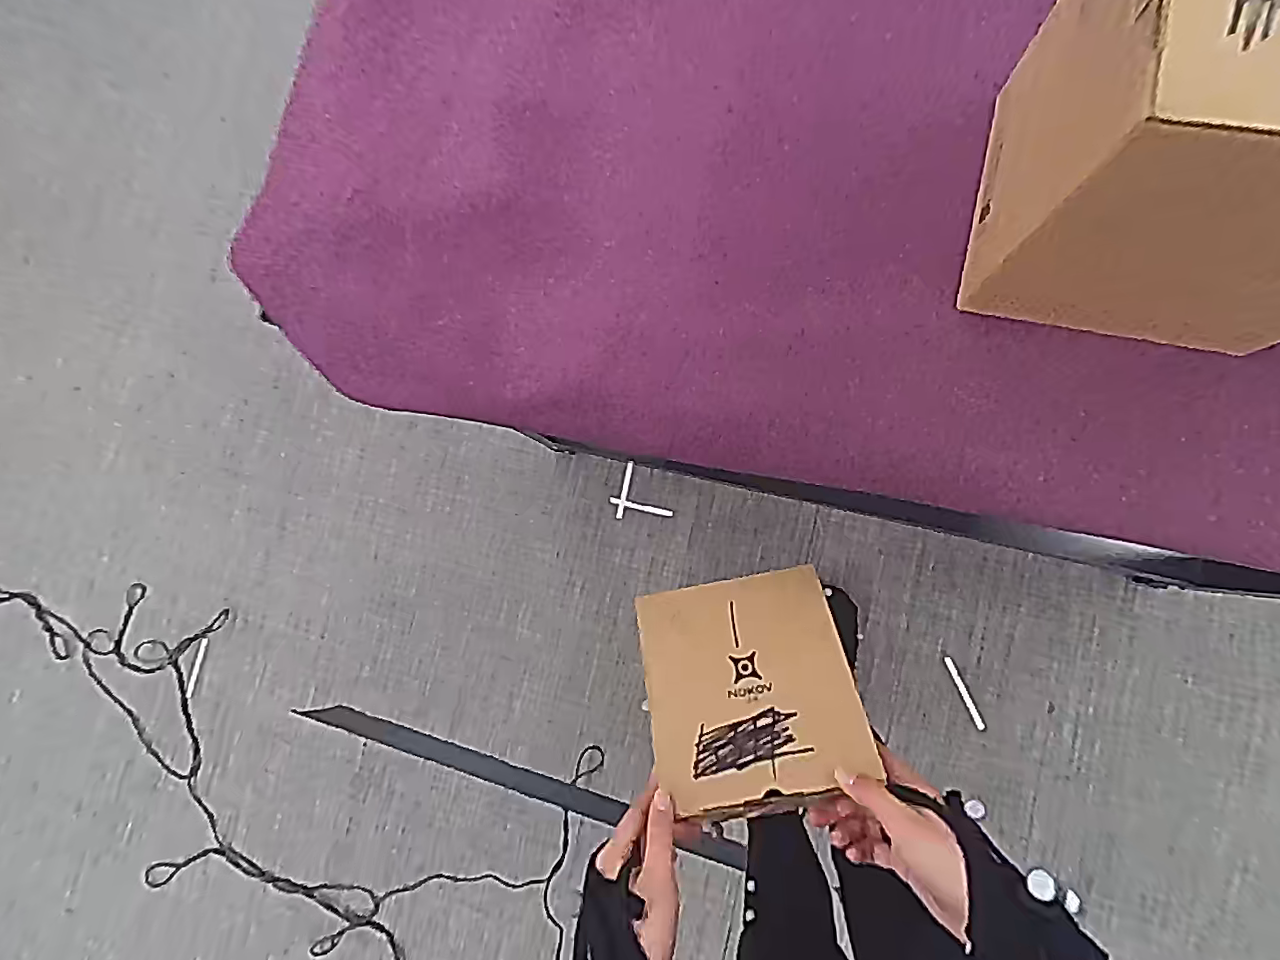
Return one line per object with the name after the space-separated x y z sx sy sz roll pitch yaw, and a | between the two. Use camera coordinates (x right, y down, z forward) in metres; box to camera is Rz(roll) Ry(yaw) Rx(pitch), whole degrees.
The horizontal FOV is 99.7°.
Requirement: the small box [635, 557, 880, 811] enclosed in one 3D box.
0.098 0.198 0.503 0.168 0.176 0.179 -11 54 3 | small box

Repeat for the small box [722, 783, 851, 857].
0.238 0.513 0.946 0.168 0.176 0.179 36 89 13 | small box
